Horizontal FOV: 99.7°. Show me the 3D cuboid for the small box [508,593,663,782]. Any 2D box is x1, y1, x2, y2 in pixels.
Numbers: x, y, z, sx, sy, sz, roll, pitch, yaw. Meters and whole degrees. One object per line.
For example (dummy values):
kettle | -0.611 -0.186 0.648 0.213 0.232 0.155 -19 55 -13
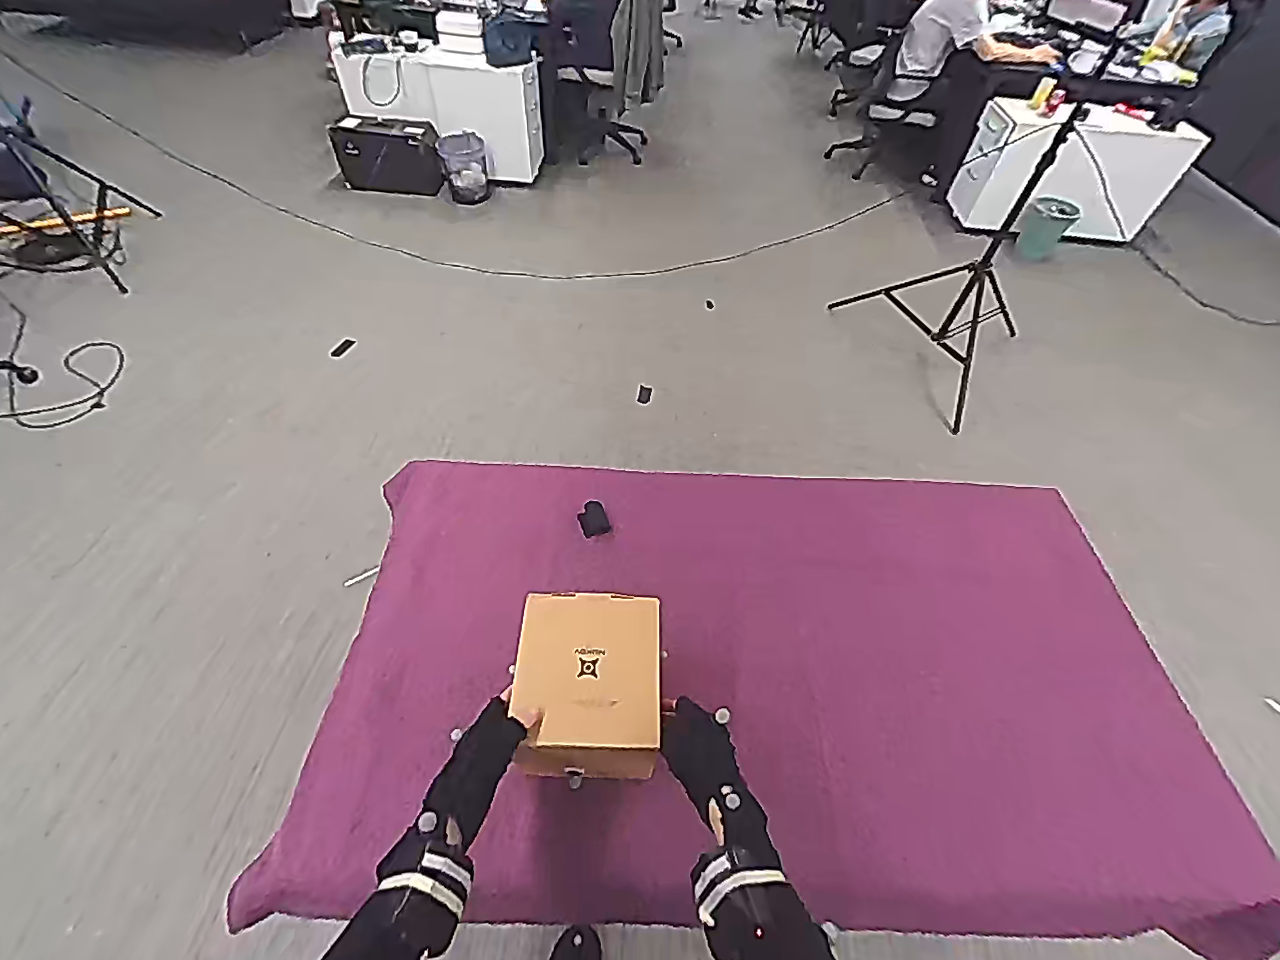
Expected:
small box | -0.060 0.261 0.678 0.168 0.176 0.179 1 51 -1
